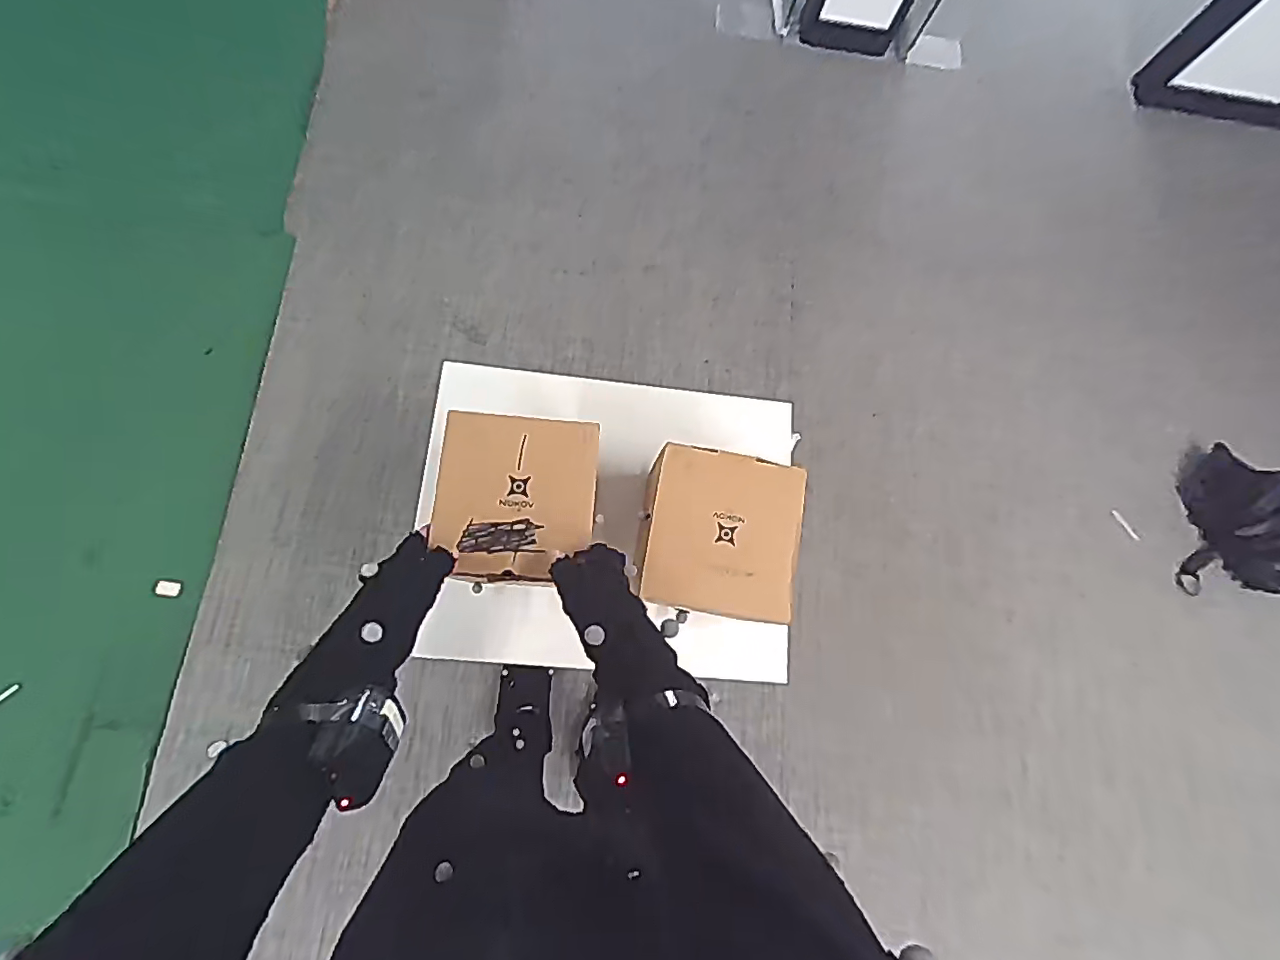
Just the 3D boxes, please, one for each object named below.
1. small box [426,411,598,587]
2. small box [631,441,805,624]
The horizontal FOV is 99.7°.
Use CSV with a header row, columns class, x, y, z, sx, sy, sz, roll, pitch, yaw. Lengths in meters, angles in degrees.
class,x,y,z,sx,sy,sz,roll,pitch,yaw
small box,-0.141,0.034,0.653,0.168,0.176,0.179,5,75,-6
small box,0.085,0.071,0.656,0.168,0.176,0.179,10,77,-3
